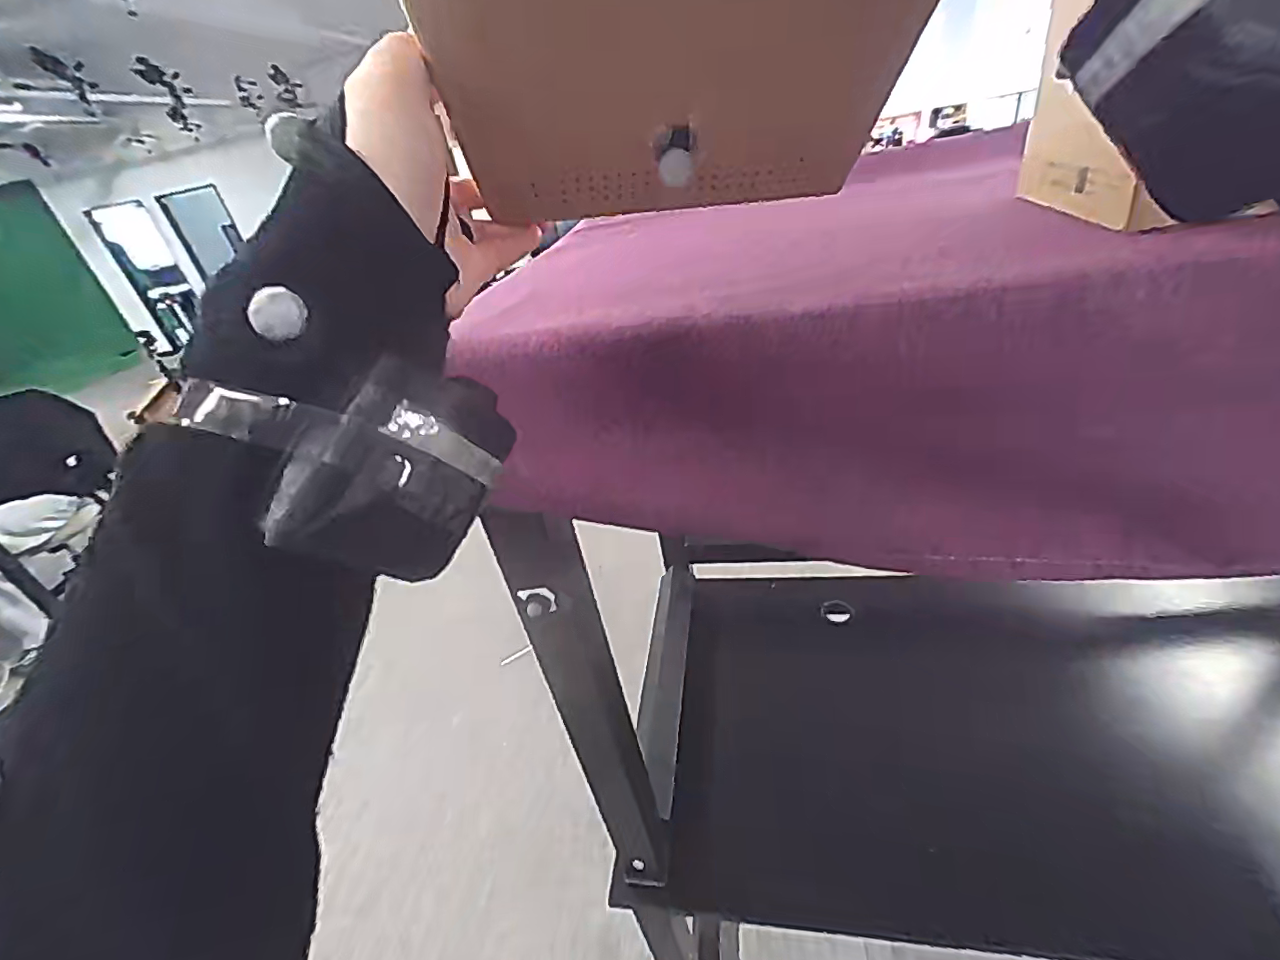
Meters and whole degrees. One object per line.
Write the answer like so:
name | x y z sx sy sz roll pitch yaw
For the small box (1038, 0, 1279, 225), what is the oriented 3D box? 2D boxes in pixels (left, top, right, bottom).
small box | 0.339 -0.242 0.281 0.179 0.176 0.168 -2 33 16

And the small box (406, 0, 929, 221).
small box | 0.006 -0.225 0.201 0.179 0.168 0.176 -6 -13 -2
